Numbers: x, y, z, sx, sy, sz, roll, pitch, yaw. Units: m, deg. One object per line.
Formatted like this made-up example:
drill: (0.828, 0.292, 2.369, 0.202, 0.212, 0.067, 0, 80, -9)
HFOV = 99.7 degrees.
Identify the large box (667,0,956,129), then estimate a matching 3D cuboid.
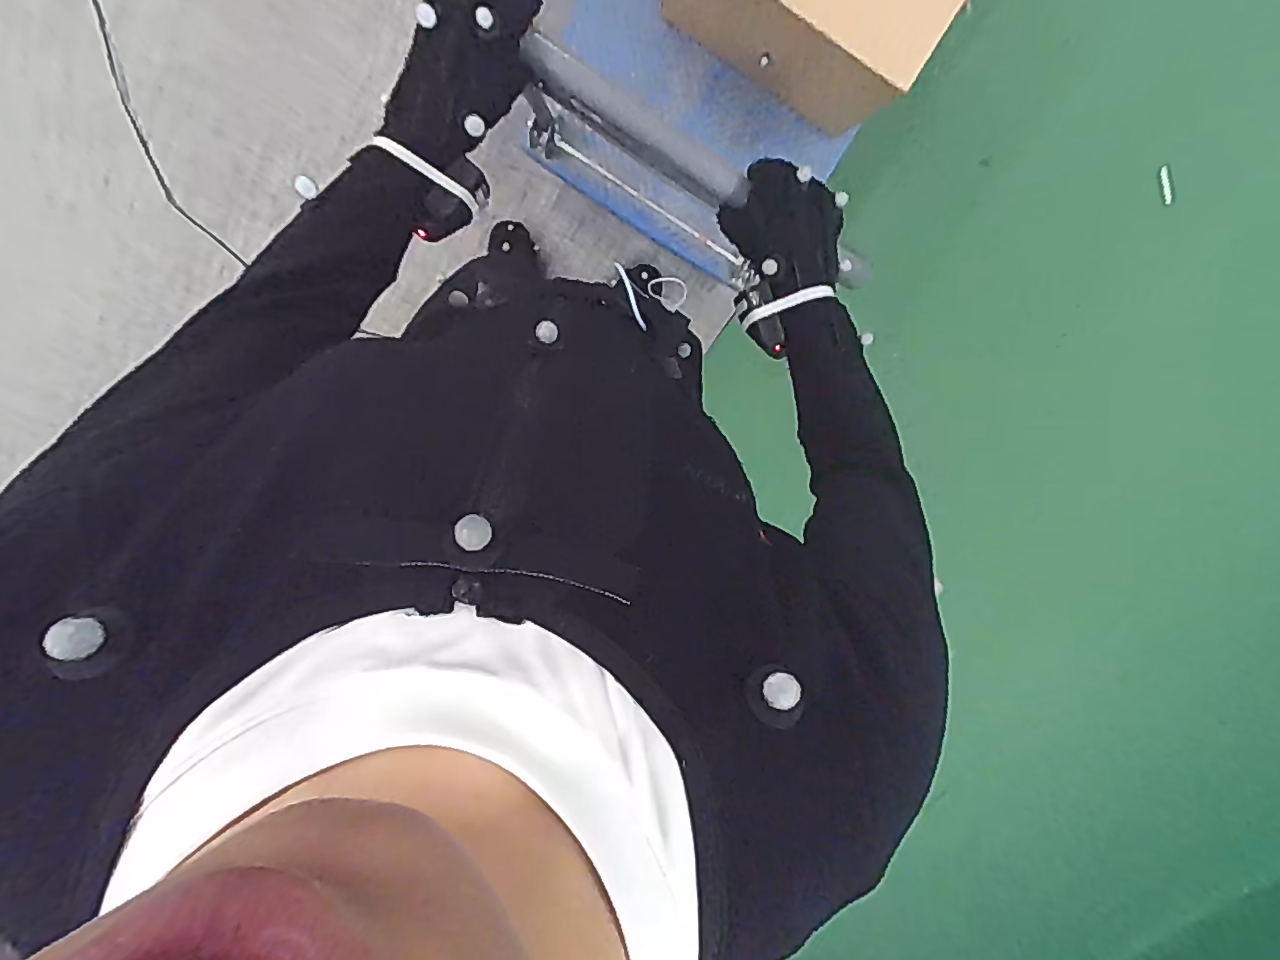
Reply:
large box: (0.290, -0.844, 0.861, 0.408, 0.320, 0.320, 26, 109, -9)
